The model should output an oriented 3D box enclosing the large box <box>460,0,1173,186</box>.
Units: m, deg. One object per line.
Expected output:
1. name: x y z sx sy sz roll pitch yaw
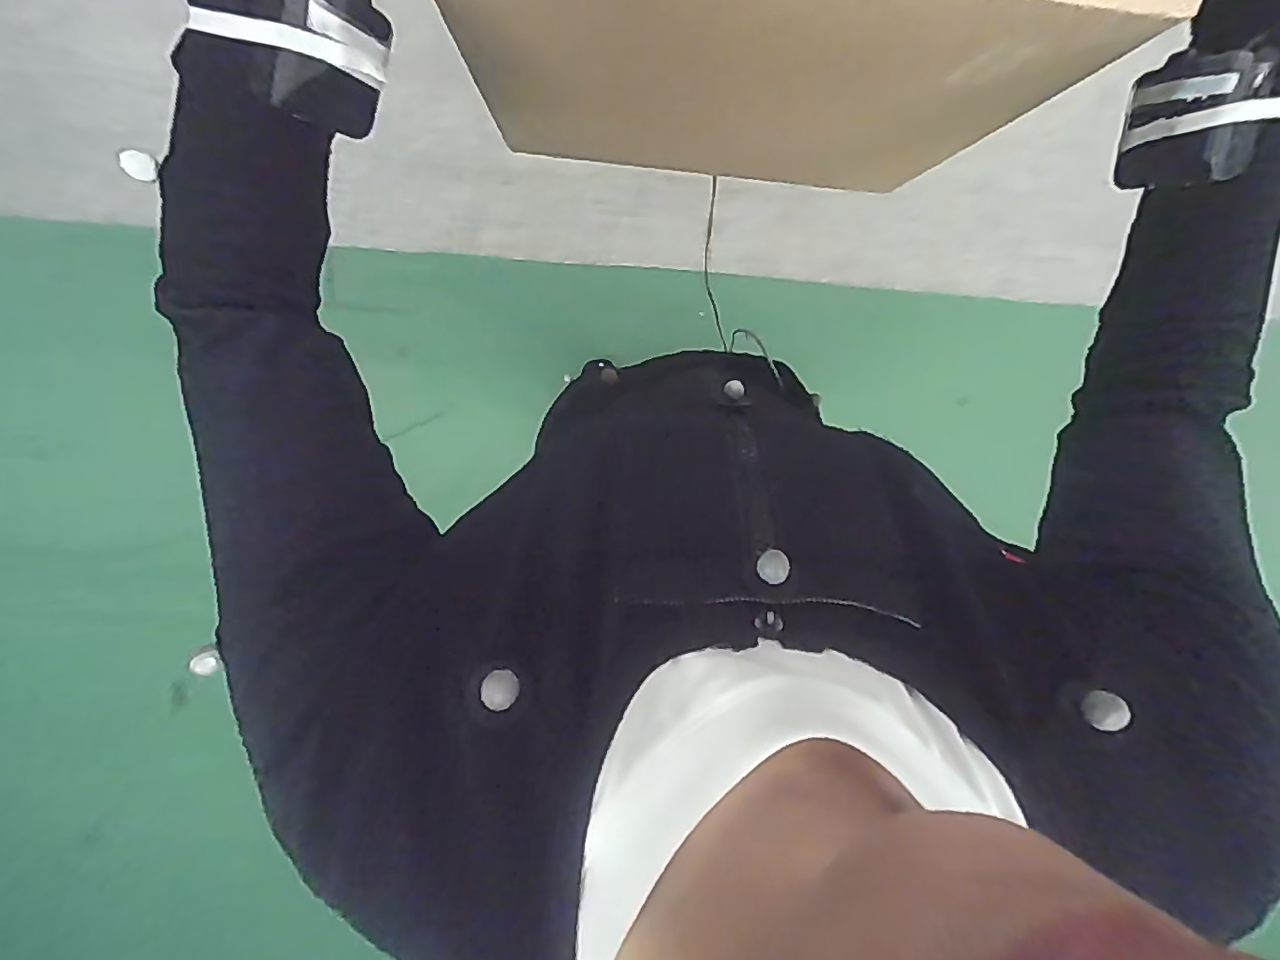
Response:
1. large box: 0.089 -0.439 0.390 0.408 0.320 0.320 3 103 -5
